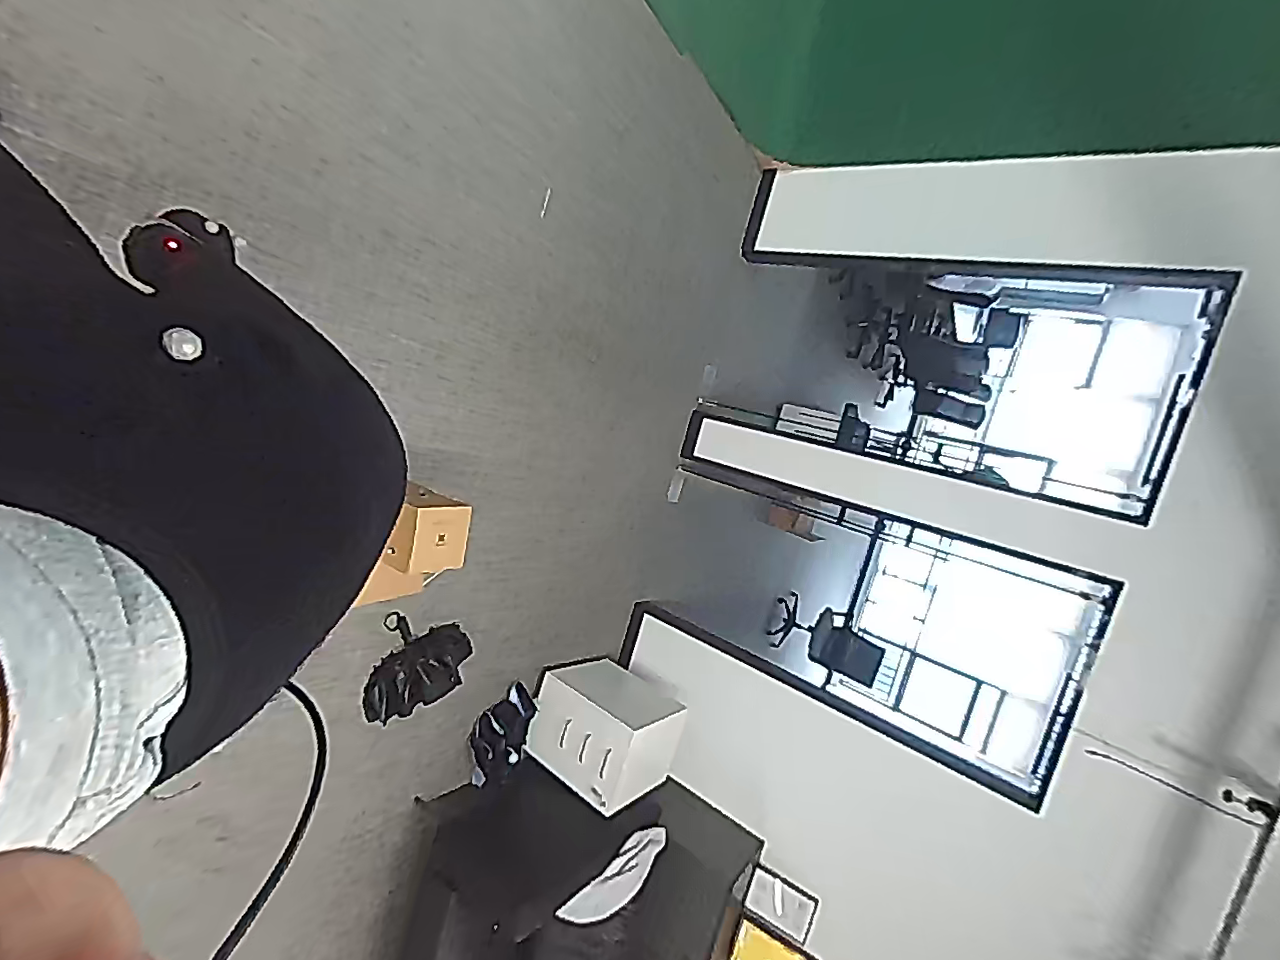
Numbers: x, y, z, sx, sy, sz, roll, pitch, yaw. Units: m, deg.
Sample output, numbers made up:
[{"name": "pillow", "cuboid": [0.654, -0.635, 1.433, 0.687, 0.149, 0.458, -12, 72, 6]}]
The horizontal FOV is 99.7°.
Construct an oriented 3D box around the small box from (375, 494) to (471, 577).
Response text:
[{"name": "small box", "cuboid": [-0.576, 0.140, 1.428, 0.168, 0.176, 0.179, 0, 101, -57]}]
